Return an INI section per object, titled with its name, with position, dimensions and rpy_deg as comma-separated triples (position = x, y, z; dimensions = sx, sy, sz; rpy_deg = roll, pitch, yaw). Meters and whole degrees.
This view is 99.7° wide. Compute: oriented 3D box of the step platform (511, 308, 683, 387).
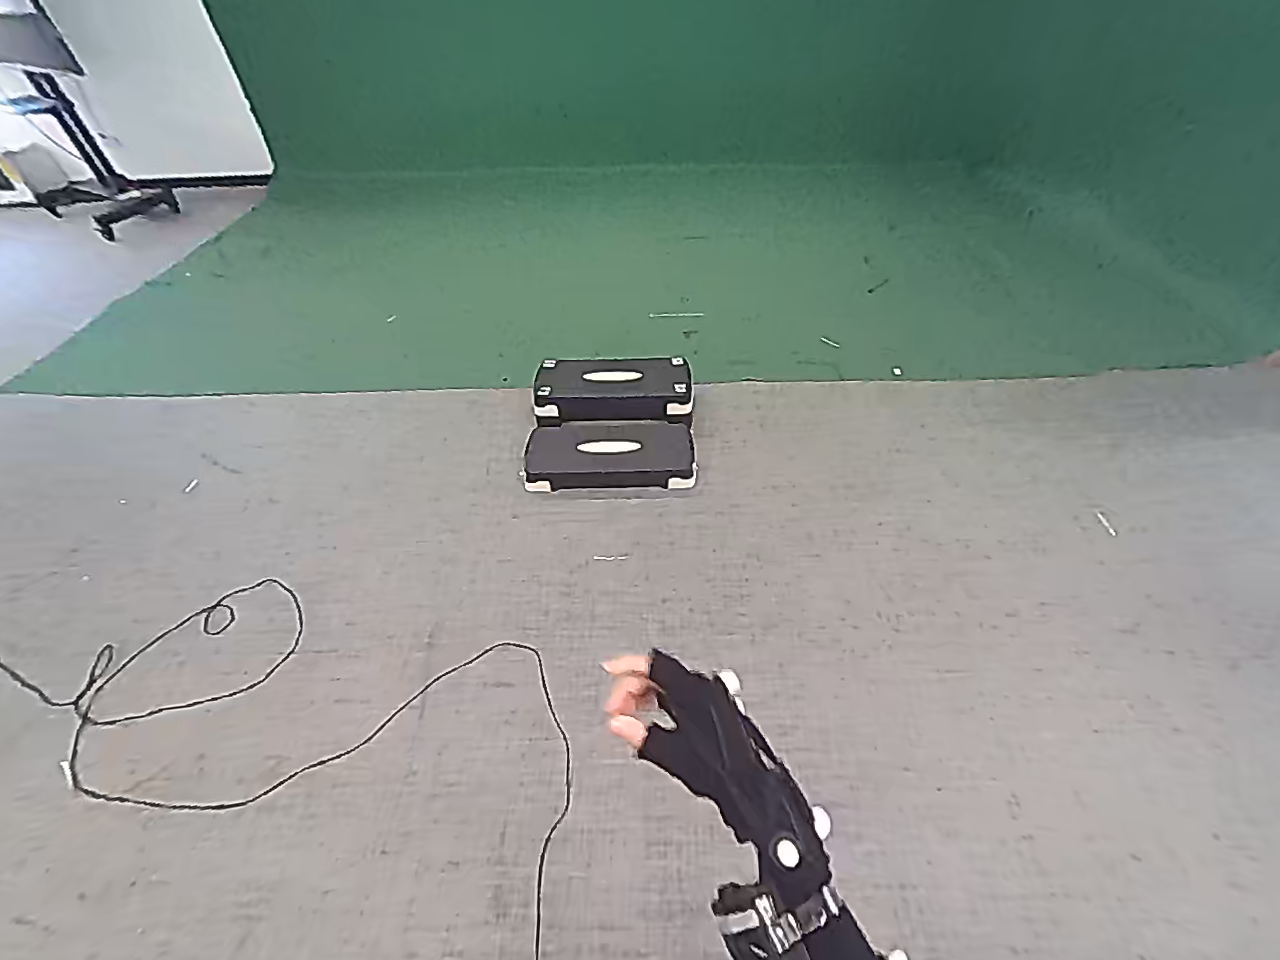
[step platform]
position = -0.166, -0.541, 2.216
dimensions = 0.684, 0.204, 0.286
rpy_deg = -2, 46, 1
